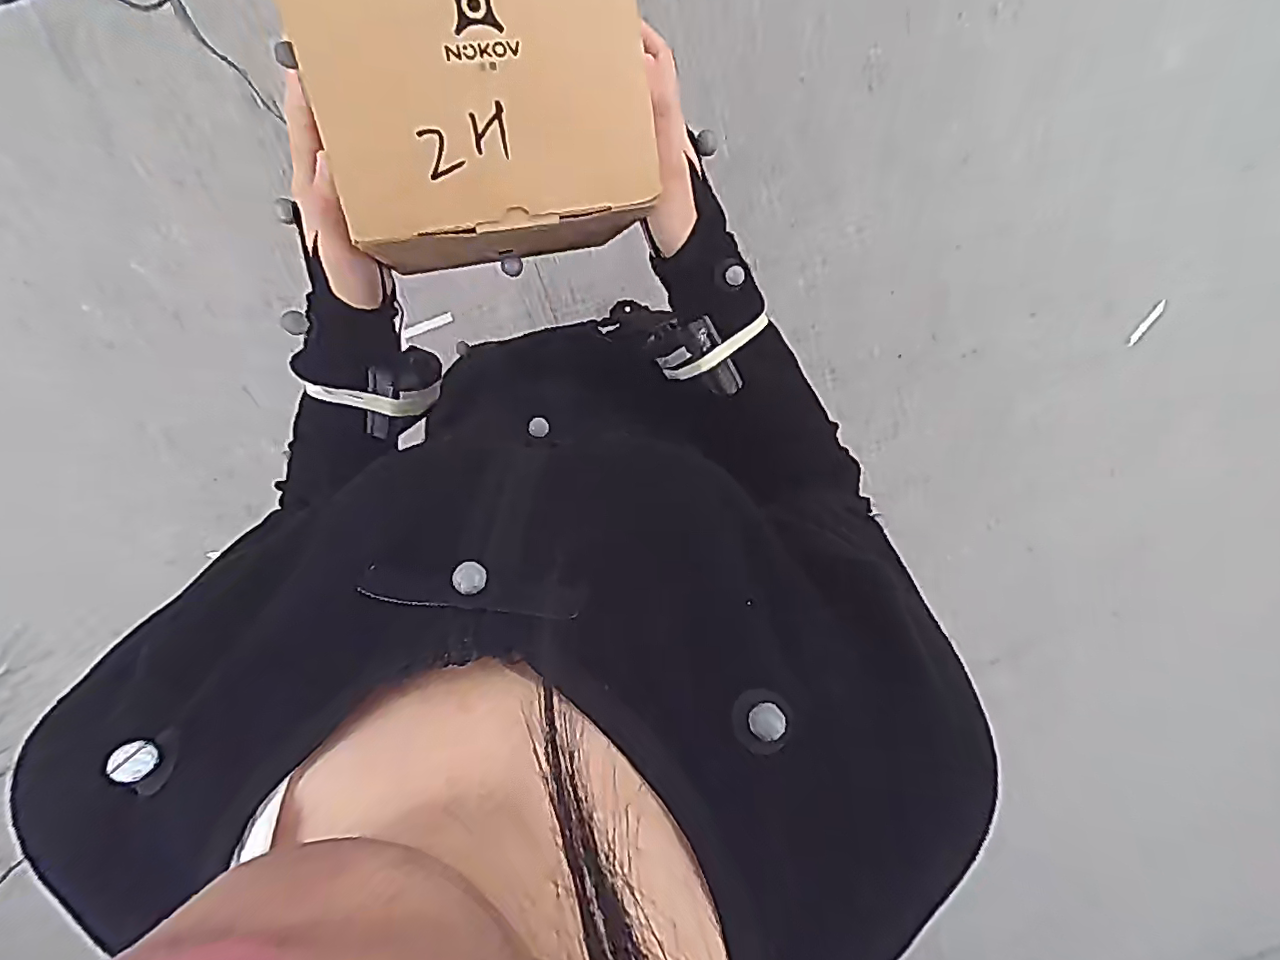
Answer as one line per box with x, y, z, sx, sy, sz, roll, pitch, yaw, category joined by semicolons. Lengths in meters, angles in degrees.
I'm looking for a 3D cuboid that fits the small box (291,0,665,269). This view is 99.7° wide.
-0.097;-0.241;0.333;0.168;0.176;0.179;-13;108;-11;small box
